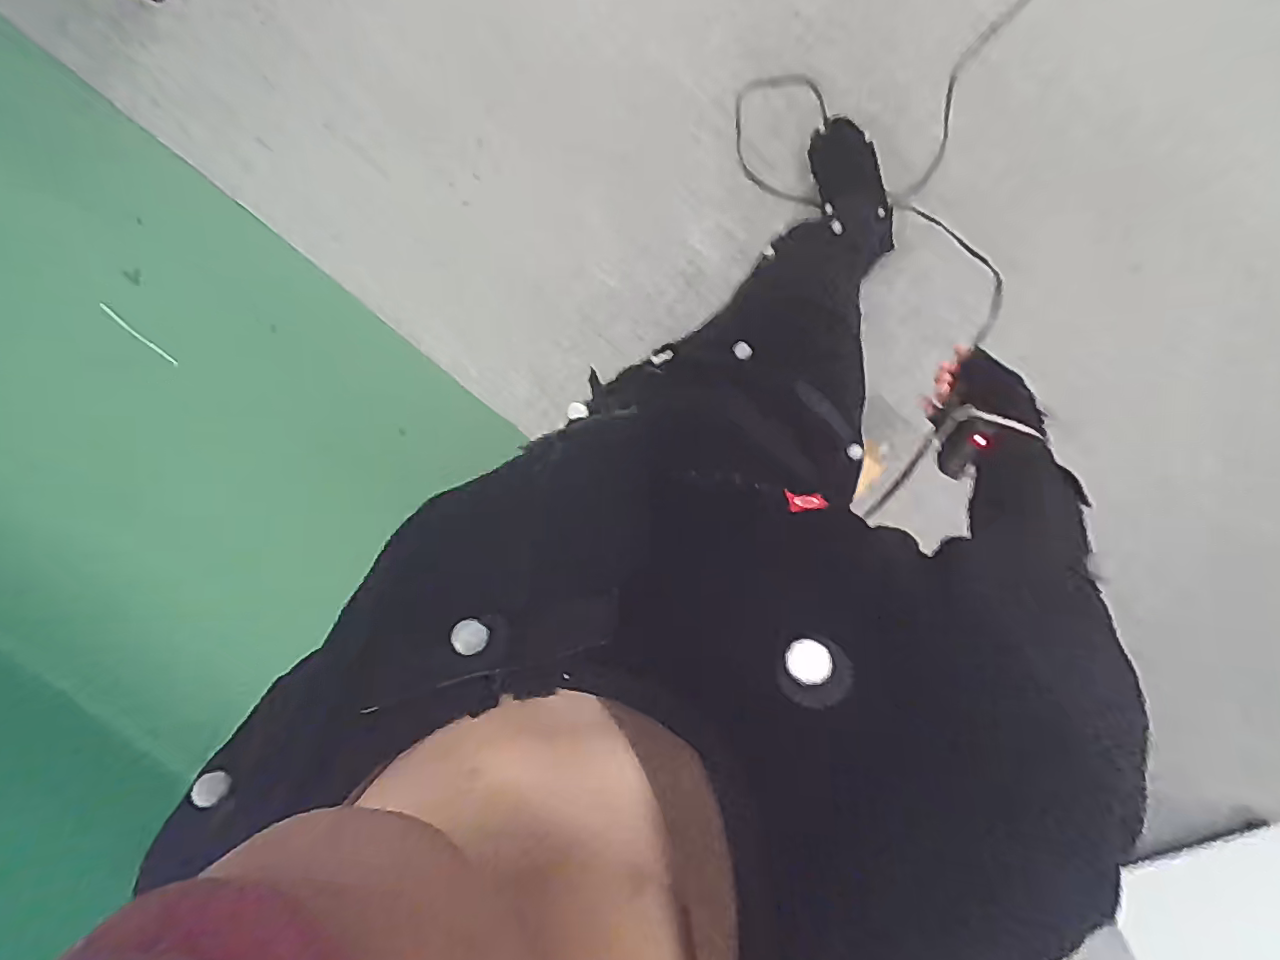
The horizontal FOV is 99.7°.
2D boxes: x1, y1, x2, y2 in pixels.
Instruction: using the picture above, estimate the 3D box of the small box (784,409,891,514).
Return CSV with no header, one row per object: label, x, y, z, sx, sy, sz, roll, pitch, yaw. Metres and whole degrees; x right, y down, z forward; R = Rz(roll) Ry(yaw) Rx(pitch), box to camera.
small box,0.473,-0.054,1.318,0.179,0.176,0.168,39,119,-3
